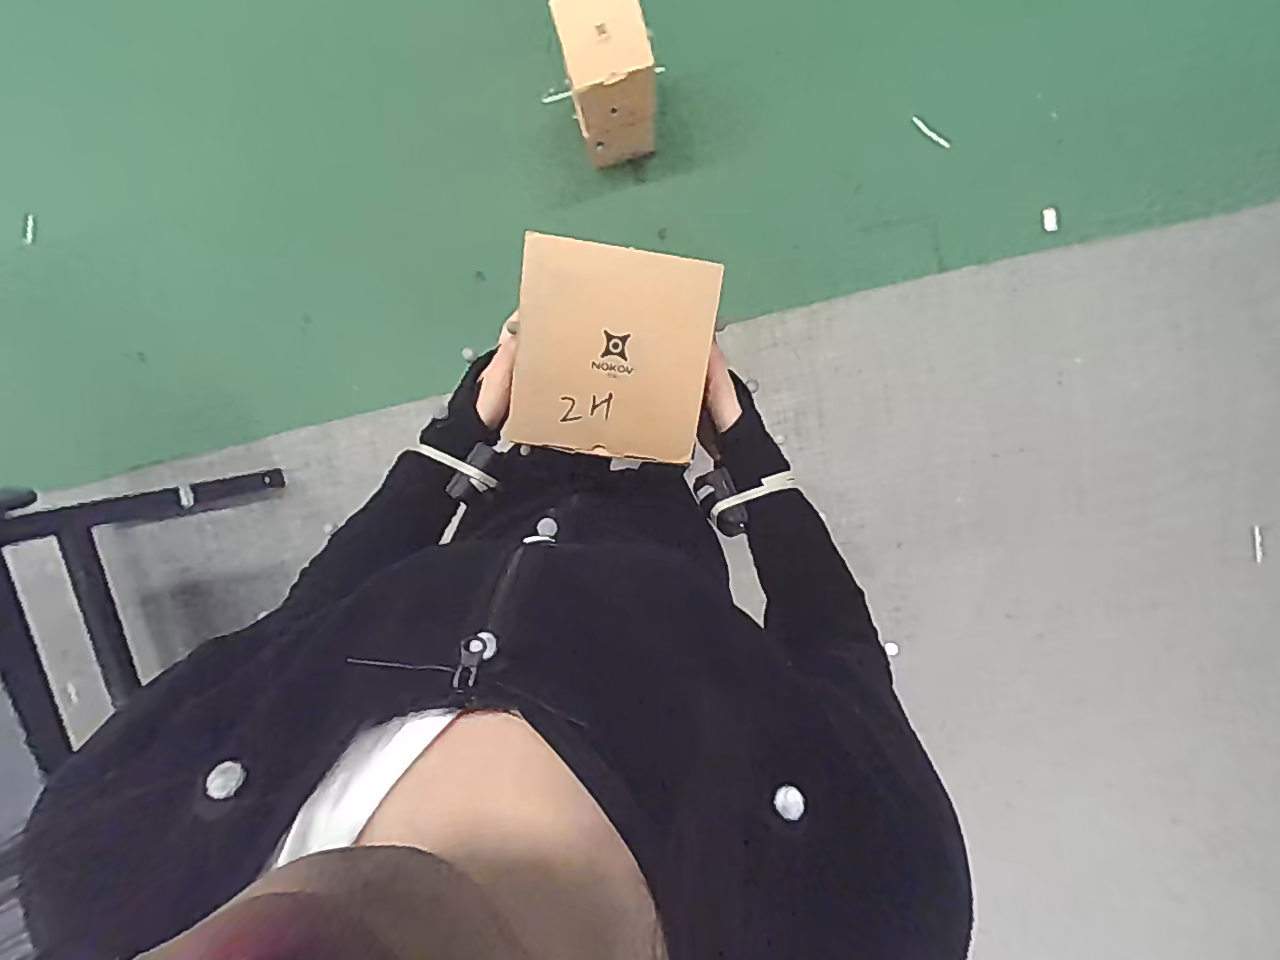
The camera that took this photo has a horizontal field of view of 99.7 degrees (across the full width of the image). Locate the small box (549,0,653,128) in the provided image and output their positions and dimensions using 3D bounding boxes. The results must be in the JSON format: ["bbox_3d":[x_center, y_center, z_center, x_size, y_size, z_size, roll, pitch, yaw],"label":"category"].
[{"bbox_3d":[-0.075,-0.879,1.117,0.168,0.176,0.179,-16,97,4],"label":"small box"}]

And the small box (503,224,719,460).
[{"bbox_3d":[-0.032,-0.129,0.534,0.168,0.176,0.179,7,103,-5],"label":"small box"}]
